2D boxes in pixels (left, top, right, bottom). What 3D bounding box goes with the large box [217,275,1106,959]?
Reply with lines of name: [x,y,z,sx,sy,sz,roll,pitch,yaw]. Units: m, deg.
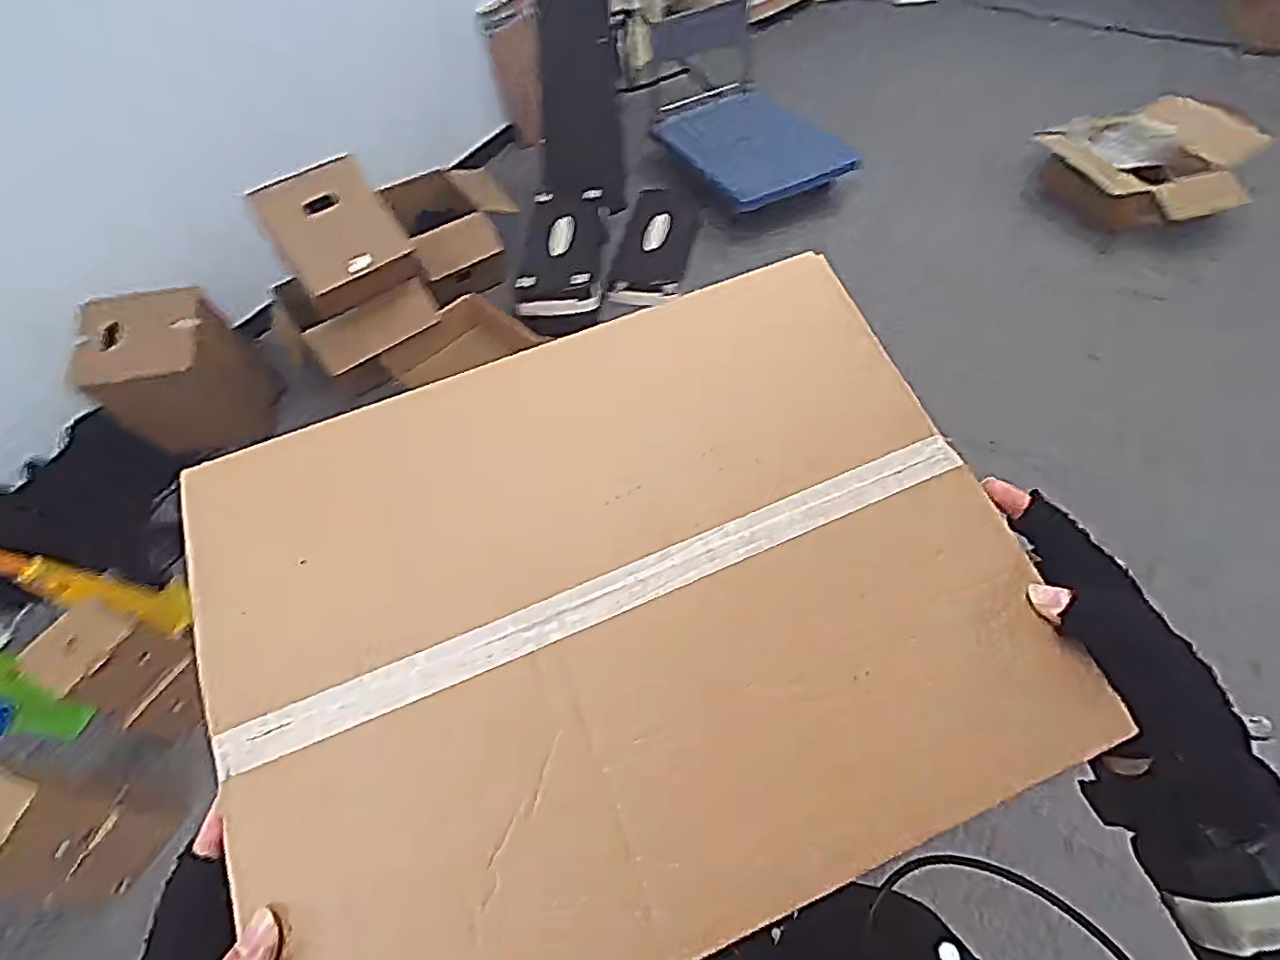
large box: [-0.003,0.115,0.429,0.408,0.320,0.320,-21,71,-6]
